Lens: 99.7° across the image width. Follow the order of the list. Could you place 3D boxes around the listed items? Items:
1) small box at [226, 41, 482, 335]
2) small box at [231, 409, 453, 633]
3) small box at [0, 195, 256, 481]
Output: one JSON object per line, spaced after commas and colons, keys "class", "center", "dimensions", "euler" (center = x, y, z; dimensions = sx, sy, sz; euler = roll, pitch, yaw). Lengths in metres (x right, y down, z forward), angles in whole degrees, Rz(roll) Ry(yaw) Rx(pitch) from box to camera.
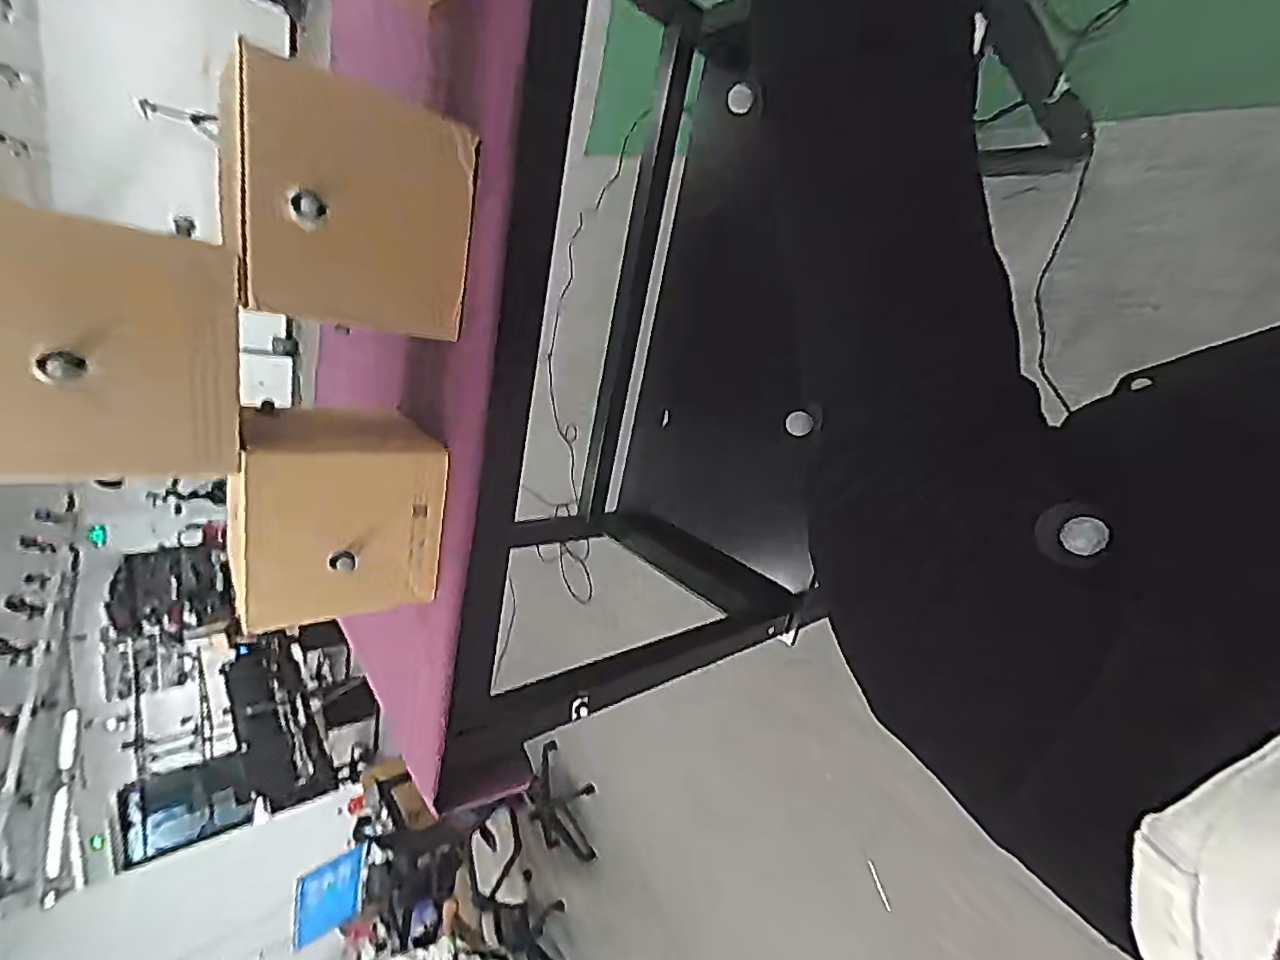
{"class": "small box", "center": [-0.255, -0.234, 0.481], "dimensions": [0.168, 0.176, 0.179], "euler": [29, 113, 44]}
{"class": "small box", "center": [-0.306, 0.026, 0.553], "dimensions": [0.179, 0.176, 0.168], "euler": [27, 111, 46]}
{"class": "small box", "center": [-0.408, -0.108, 0.413], "dimensions": [0.168, 0.176, 0.179], "euler": [26, 112, 45]}
